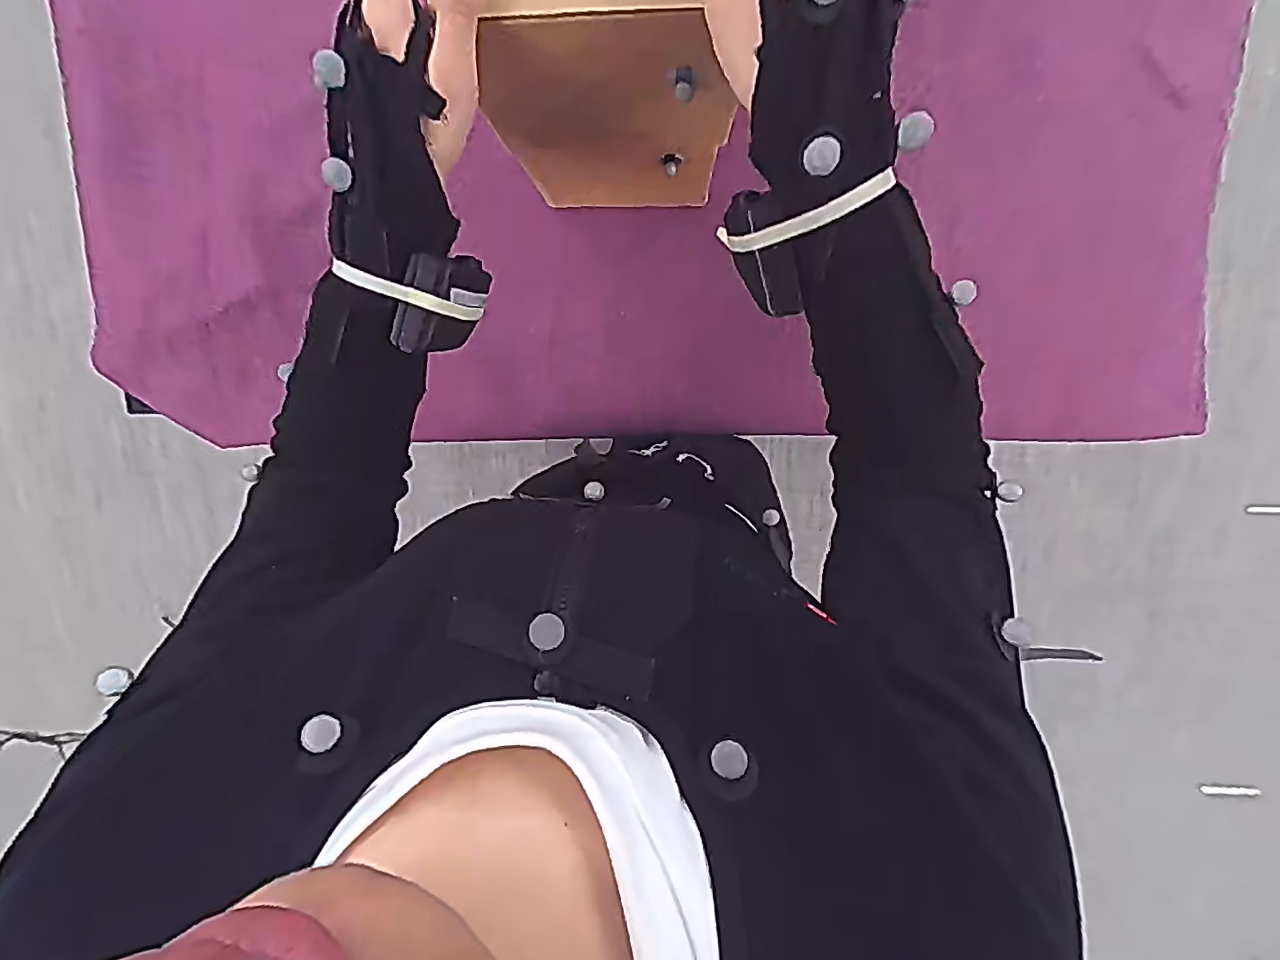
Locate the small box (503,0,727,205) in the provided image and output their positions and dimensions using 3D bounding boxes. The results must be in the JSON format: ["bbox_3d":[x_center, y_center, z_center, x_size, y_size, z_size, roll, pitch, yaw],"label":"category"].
[{"bbox_3d":[-0.017,-0.364,0.495,0.179,0.176,0.168,0,101,1],"label":"small box"}]
